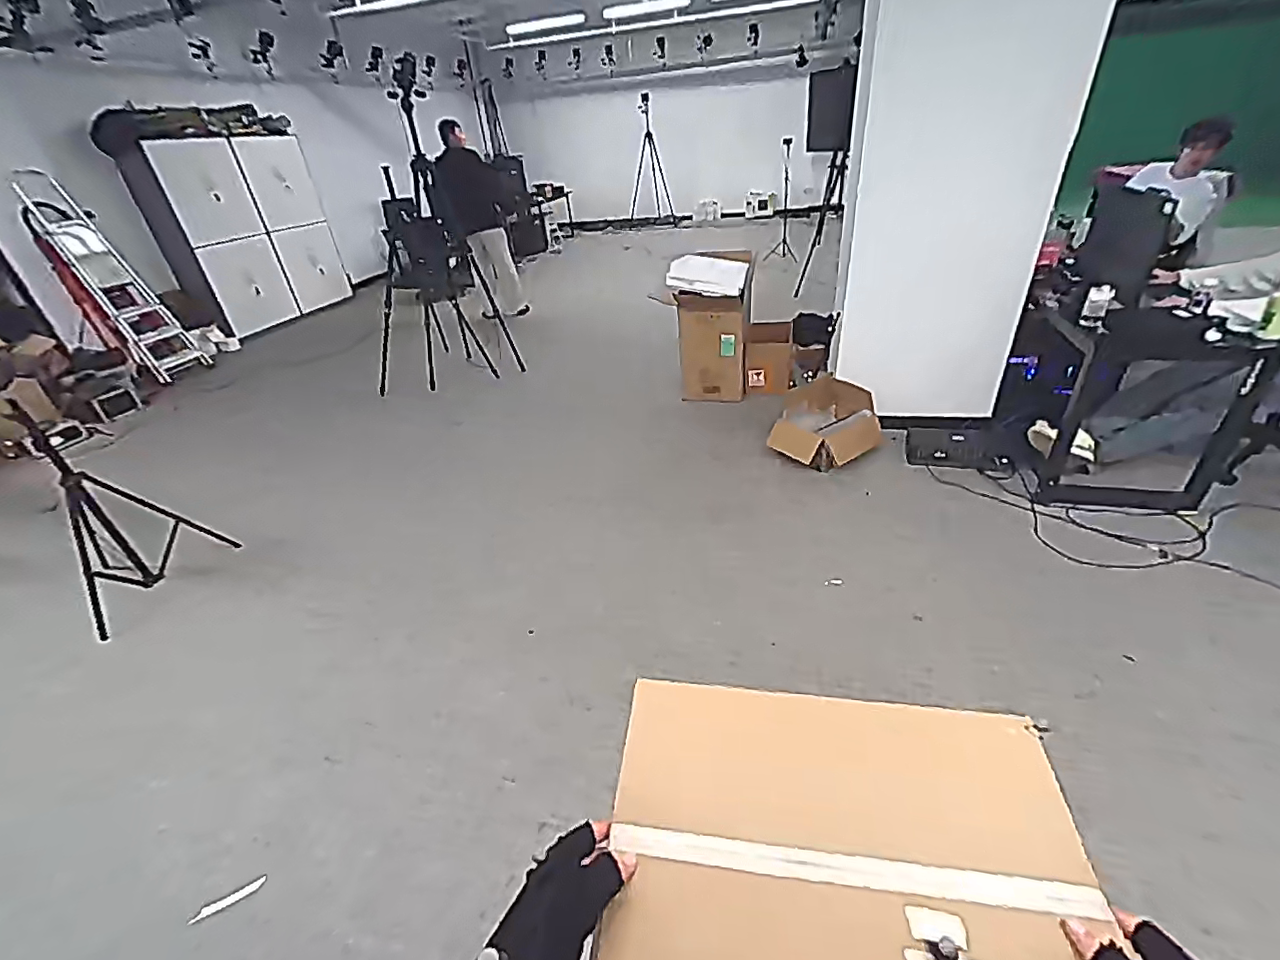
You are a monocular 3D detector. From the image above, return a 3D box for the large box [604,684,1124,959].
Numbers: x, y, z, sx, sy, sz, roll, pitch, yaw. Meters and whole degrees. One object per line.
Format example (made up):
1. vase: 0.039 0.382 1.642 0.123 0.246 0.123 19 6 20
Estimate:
1. large box: 0.185 0.448 0.563 0.408 0.320 0.320 2 41 8
